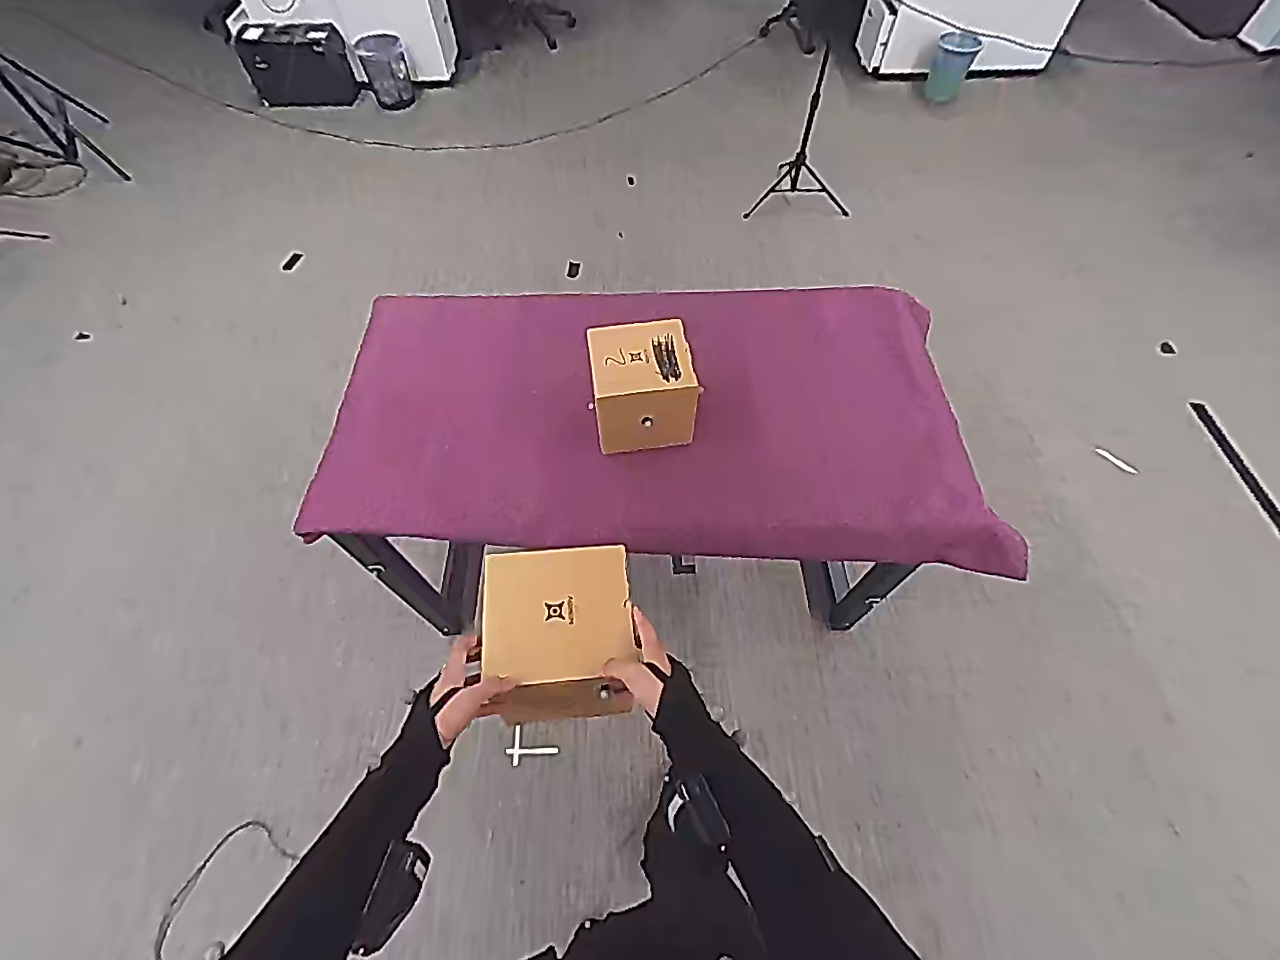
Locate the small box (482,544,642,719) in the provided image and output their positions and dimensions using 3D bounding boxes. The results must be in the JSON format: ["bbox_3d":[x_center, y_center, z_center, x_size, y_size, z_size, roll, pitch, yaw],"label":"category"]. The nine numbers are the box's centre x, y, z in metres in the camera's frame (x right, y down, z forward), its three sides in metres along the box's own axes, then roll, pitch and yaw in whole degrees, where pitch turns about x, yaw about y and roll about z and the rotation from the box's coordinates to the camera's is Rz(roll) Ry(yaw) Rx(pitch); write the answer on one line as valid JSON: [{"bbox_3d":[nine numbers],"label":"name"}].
[{"bbox_3d":[-0.098,0.199,0.697,0.179,0.176,0.168,-2,54,-9],"label":"small box"}]
